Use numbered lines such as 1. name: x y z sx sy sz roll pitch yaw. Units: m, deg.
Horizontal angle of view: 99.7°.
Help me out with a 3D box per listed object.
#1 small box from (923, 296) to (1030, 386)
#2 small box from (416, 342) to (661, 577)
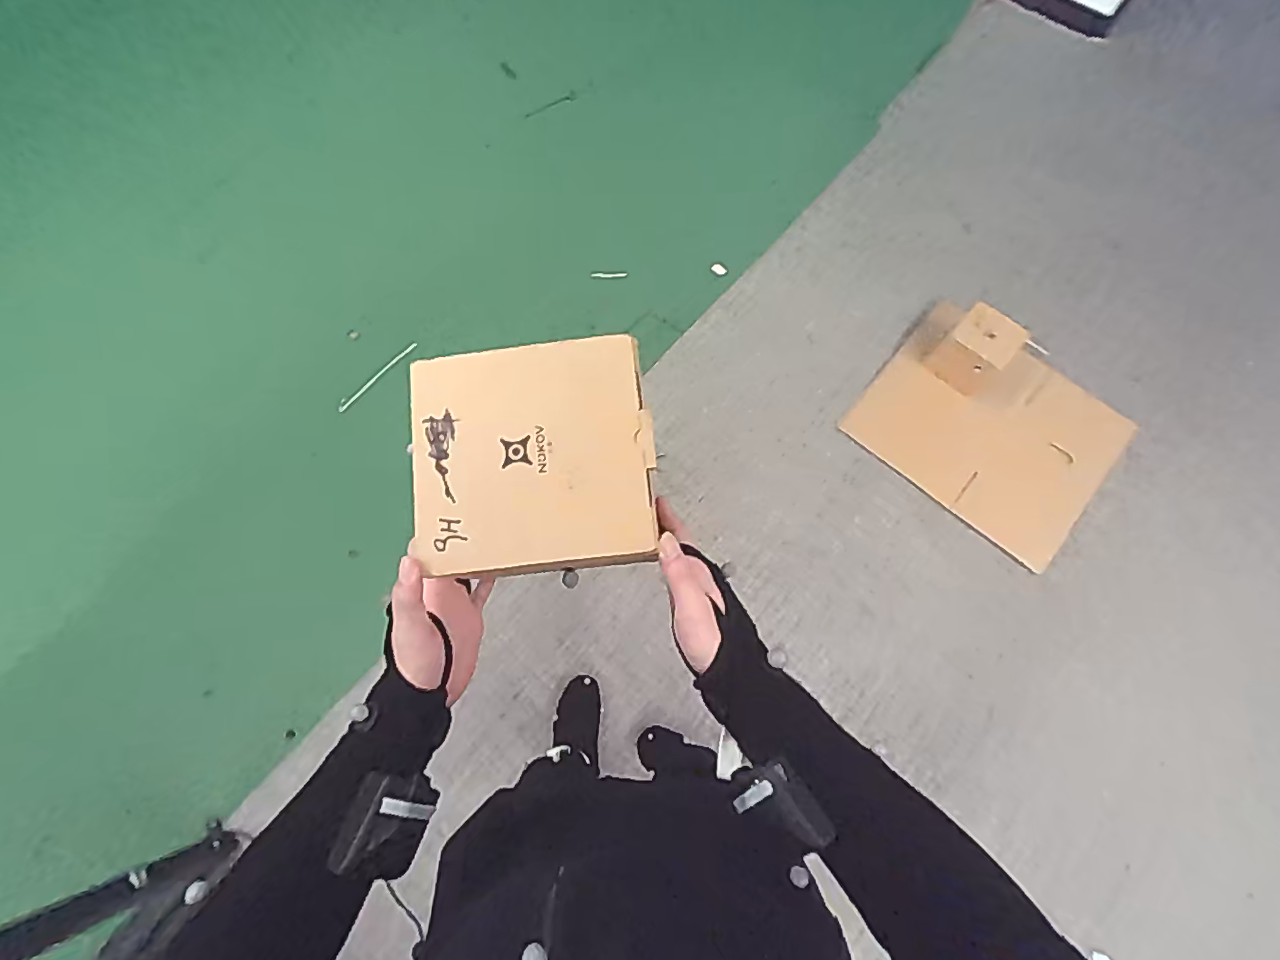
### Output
1. small box: 1.002 -0.406 1.623 0.179 0.176 0.168 41 77 12
2. small box: -0.076 -0.004 0.476 0.179 0.176 0.168 -6 79 2
